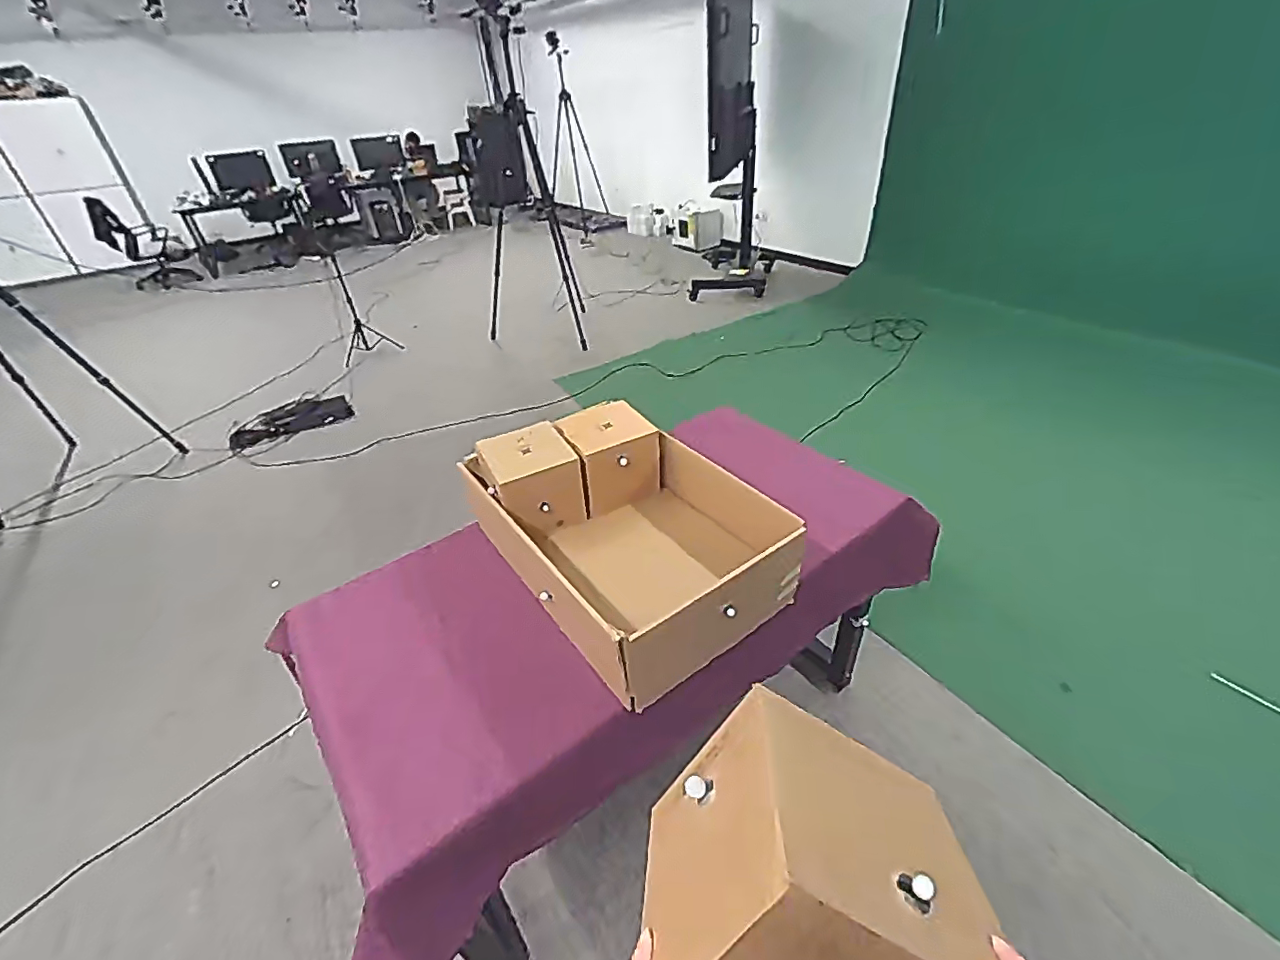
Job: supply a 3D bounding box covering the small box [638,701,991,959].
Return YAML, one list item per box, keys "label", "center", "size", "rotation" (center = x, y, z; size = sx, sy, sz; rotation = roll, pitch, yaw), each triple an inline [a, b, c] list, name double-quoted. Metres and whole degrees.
- label: "small box"
  center: [0.117, 0.302, 0.398]
  size: [0.179, 0.168, 0.176]
  rotation: [31, 17, -2]
